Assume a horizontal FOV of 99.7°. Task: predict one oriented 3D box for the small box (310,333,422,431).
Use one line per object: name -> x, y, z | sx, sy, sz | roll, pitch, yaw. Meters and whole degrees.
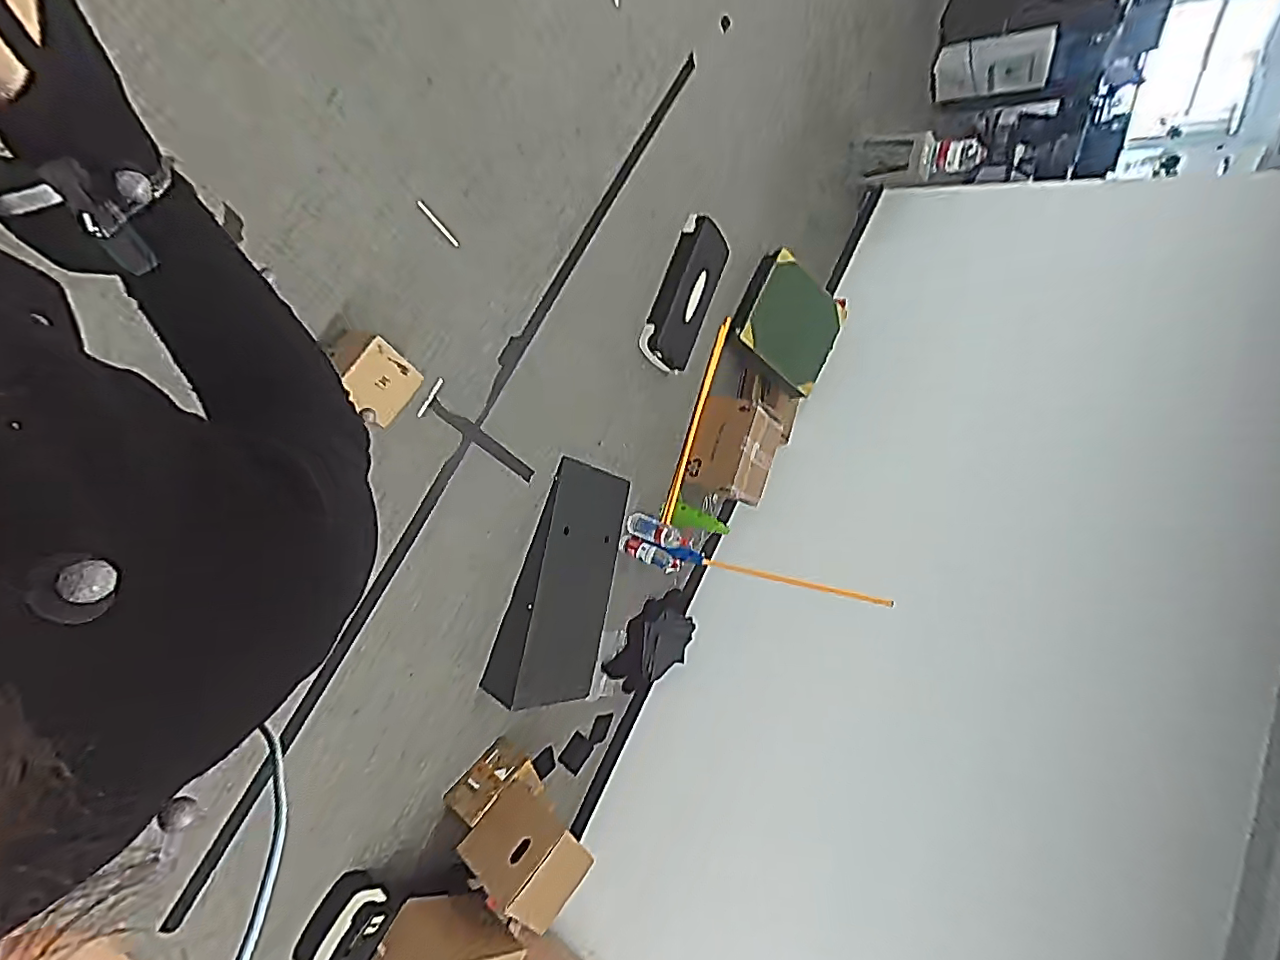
small box -> -0.713, -0.256, 1.399 | 0.179, 0.176, 0.168 | -58, 143, -17
